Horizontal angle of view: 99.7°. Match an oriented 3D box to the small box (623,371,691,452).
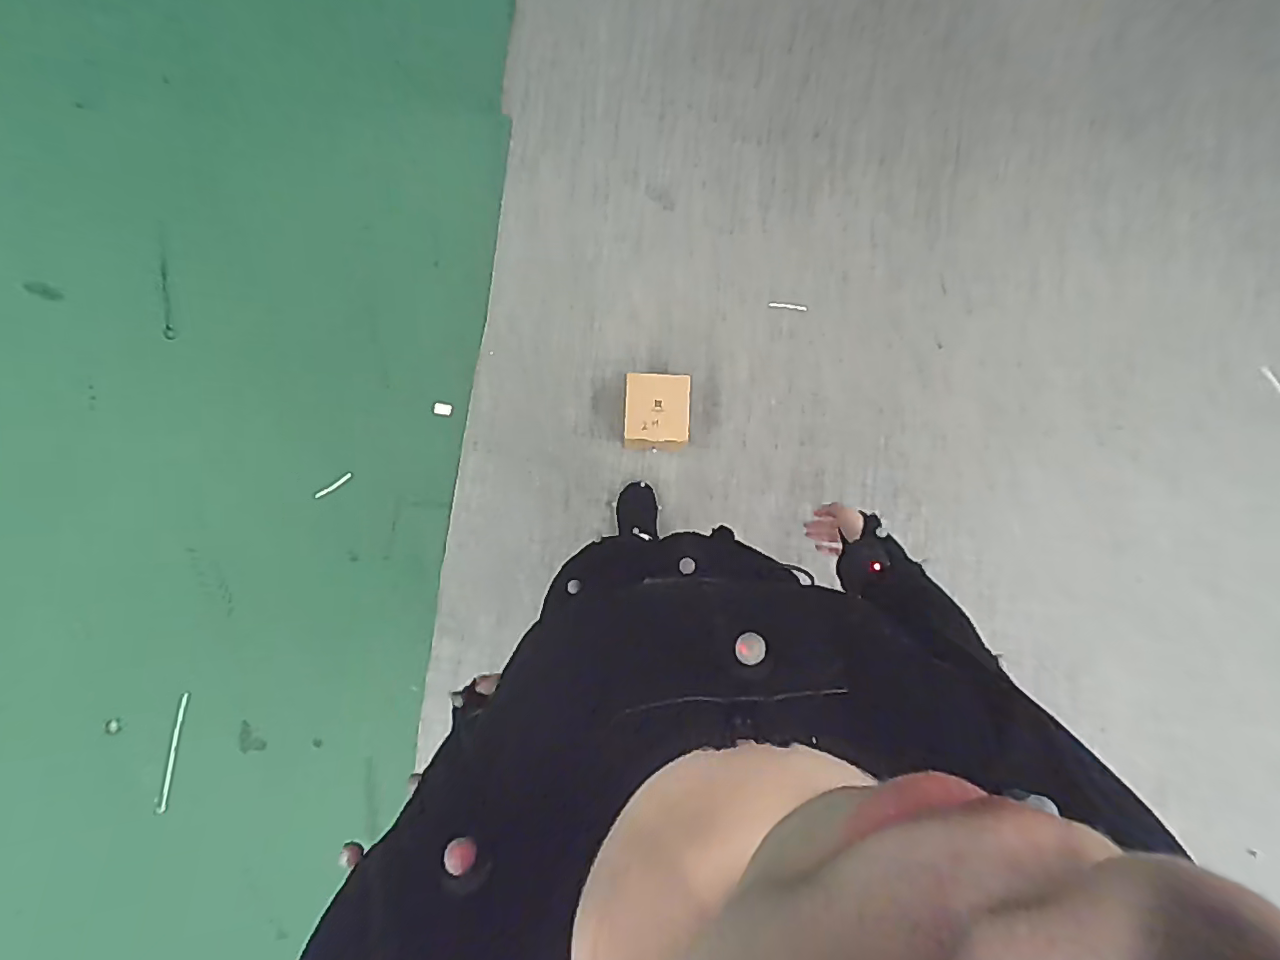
[{"bbox_3d":[0.041,-0.179,1.447,0.168,0.176,0.179,3,84,0],"label":"small box"}]
